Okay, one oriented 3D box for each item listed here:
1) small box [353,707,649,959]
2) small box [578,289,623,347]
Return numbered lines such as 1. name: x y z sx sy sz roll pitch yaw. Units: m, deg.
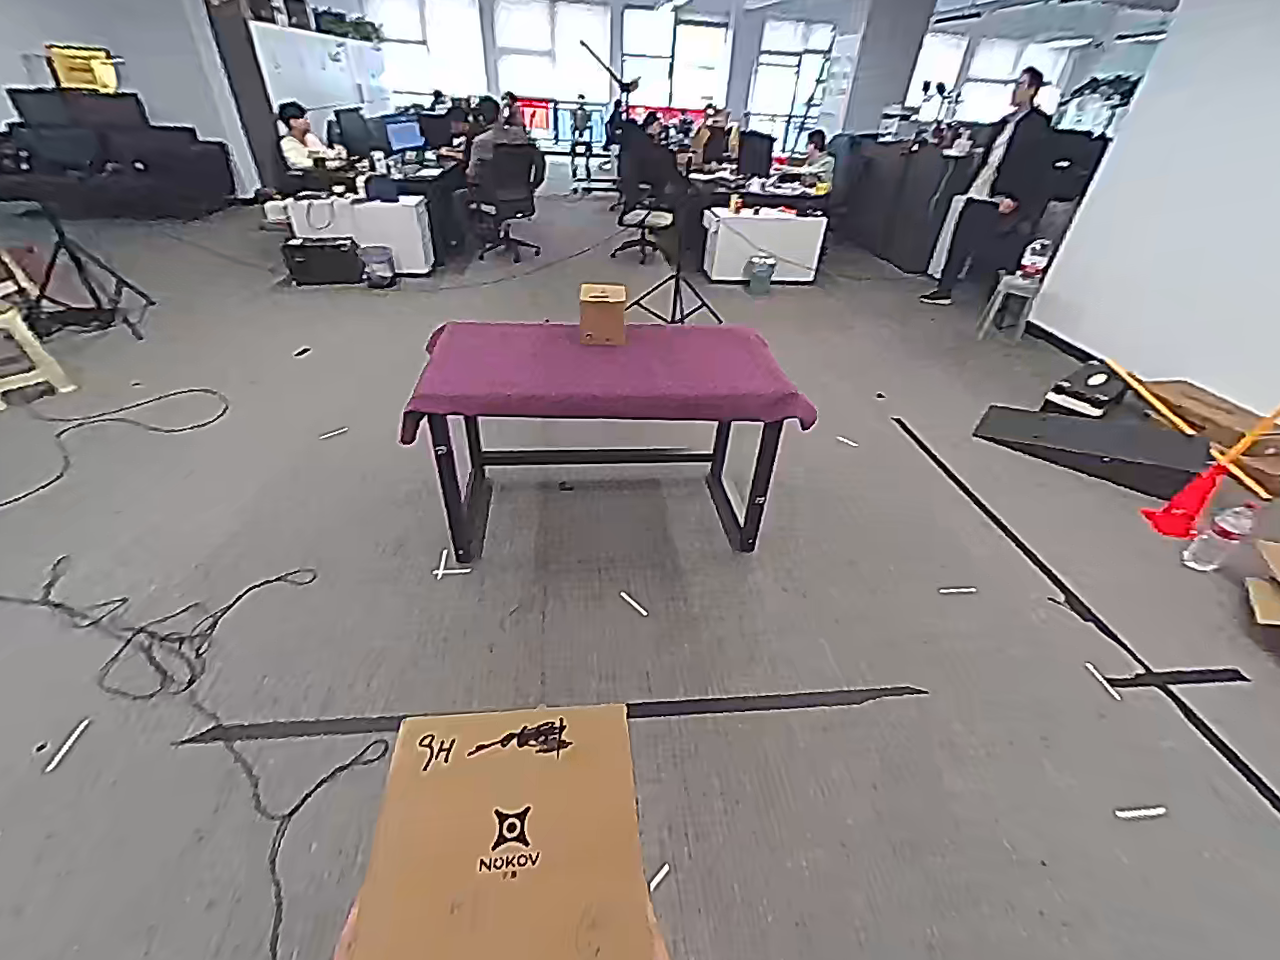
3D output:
1. small box: -0.086 0.292 0.392 0.168 0.176 0.179 0 40 -8
2. small box: -0.146 -0.611 2.042 0.168 0.176 0.179 1 37 -4
